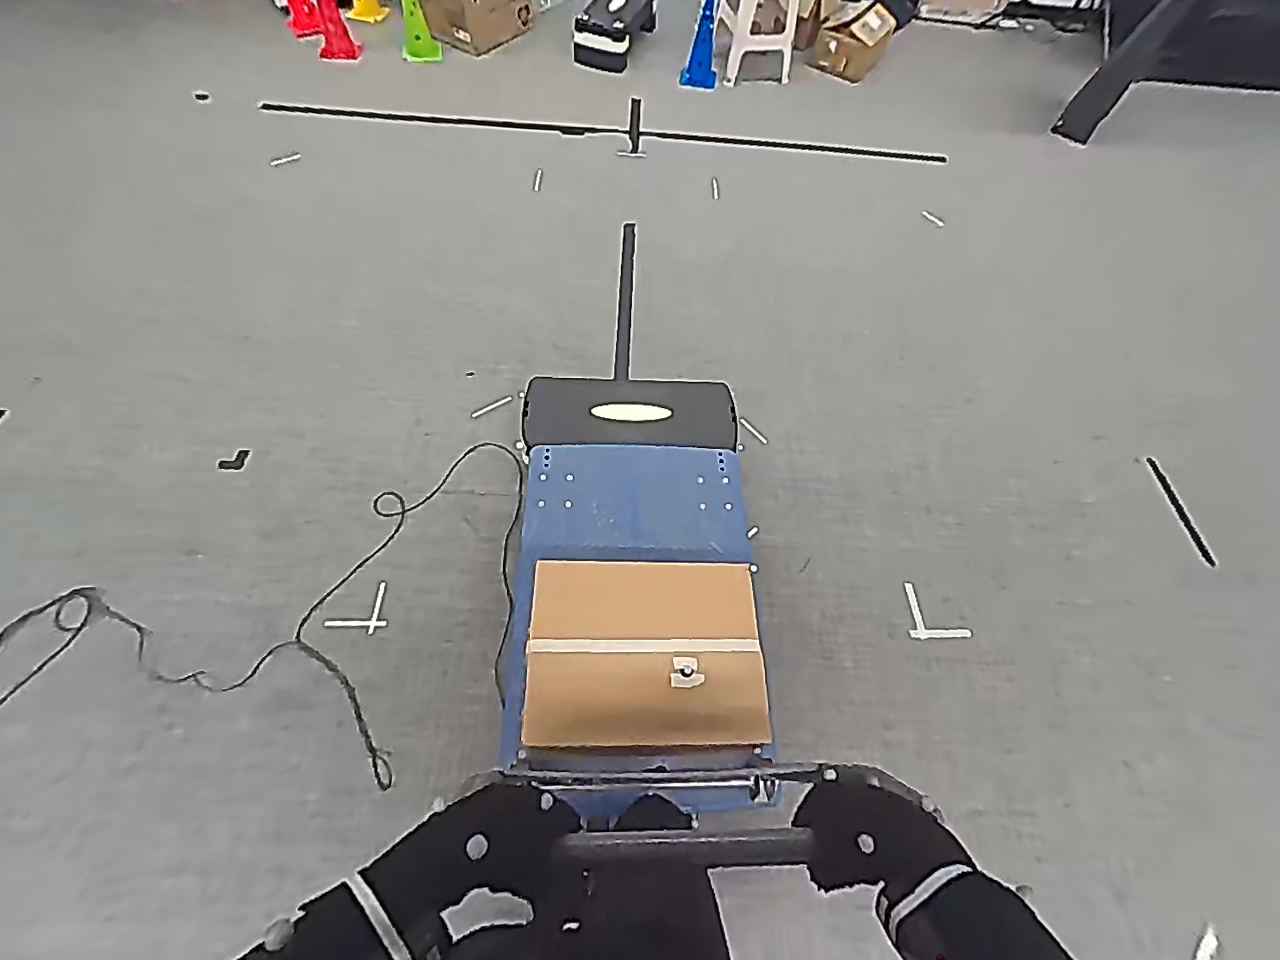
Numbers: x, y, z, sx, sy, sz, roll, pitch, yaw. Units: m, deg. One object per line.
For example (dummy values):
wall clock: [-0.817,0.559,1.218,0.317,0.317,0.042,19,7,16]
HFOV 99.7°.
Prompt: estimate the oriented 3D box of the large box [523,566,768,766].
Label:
large box: [-0.007,0.372,1.059,0.408,0.320,0.320,2,60,-5]
